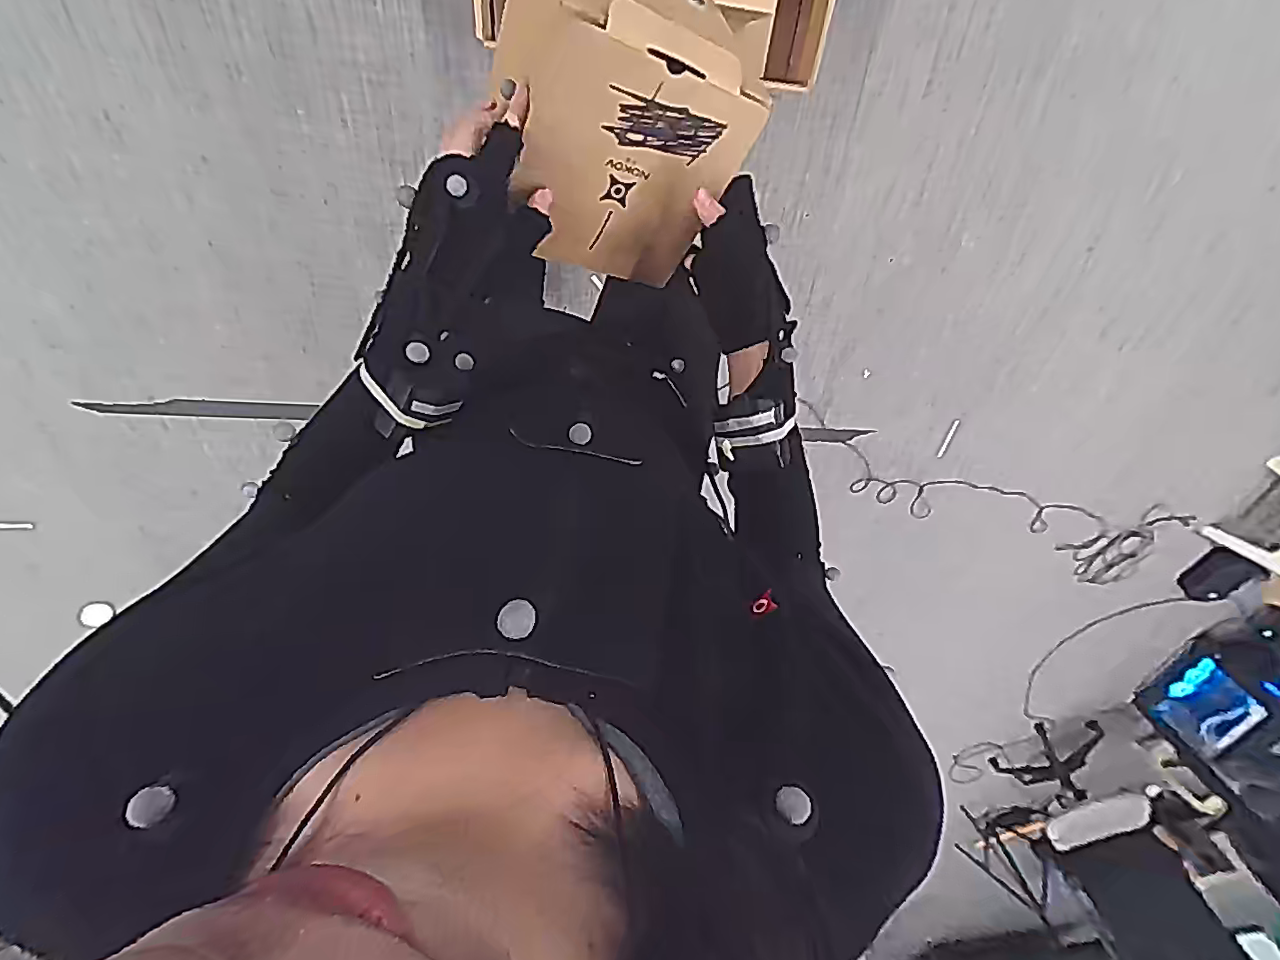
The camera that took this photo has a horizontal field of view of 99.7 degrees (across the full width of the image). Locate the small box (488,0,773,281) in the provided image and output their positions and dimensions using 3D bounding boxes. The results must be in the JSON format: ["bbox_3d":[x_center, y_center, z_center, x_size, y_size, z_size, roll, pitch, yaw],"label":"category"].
[{"bbox_3d":[-0.026,-0.307,0.453,0.168,0.176,0.179,3,148,-28],"label":"small box"}]

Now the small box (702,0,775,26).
[{"bbox_3d":[0.144,-0.910,0.938,0.179,0.176,0.168,3,126,-8],"label":"small box"}]
